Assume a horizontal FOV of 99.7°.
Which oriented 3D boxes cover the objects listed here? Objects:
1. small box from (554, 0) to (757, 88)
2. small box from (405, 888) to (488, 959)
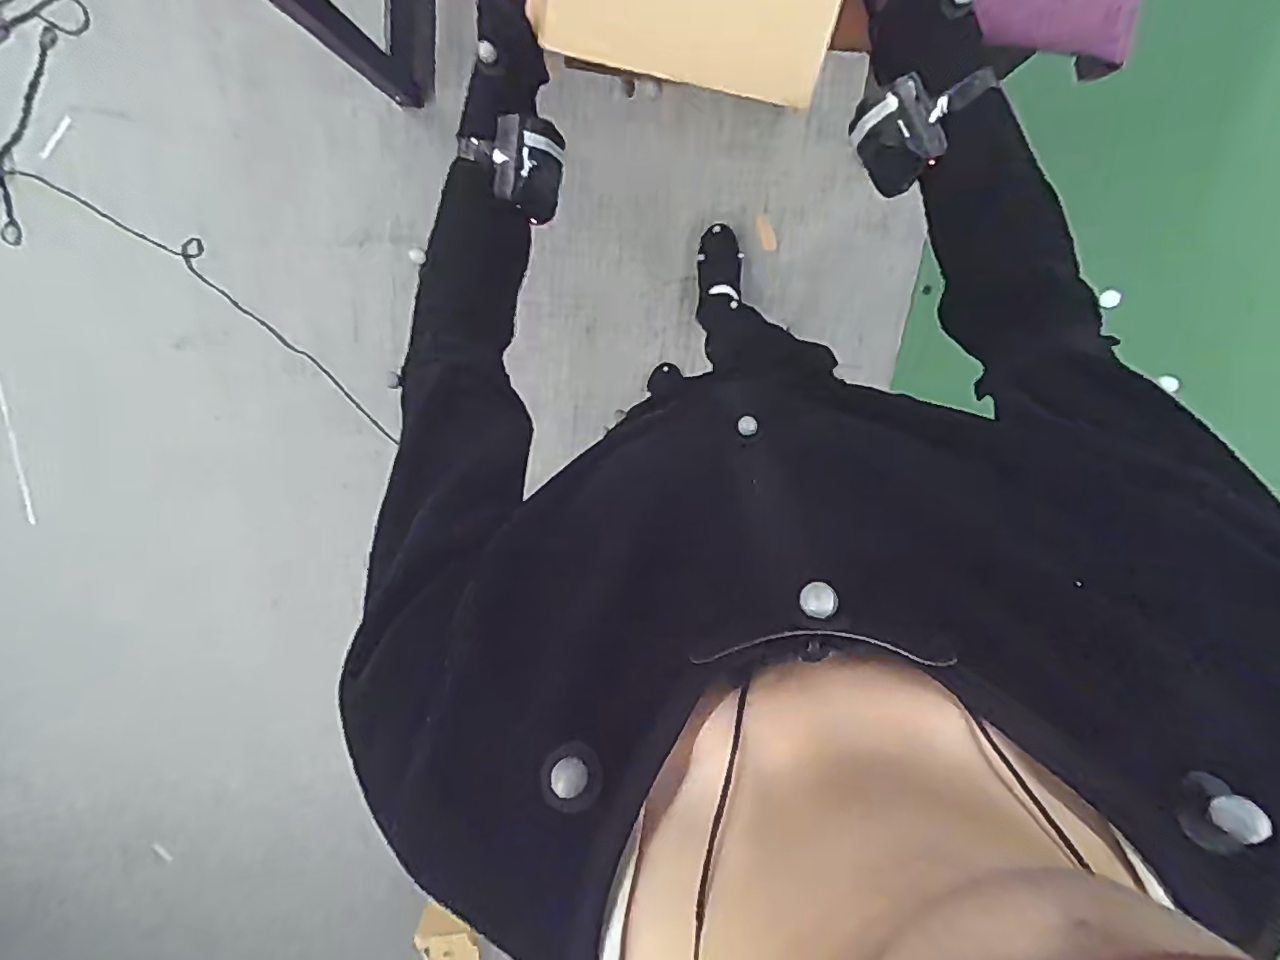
[{"bbox_3d":[0.017,-0.472,0.483,0.168,0.176,0.179,5,125,-8],"label":"small box"},{"bbox_3d":[-0.583,1.396,1.659,0.179,0.176,0.168,-10,105,5],"label":"small box"}]
